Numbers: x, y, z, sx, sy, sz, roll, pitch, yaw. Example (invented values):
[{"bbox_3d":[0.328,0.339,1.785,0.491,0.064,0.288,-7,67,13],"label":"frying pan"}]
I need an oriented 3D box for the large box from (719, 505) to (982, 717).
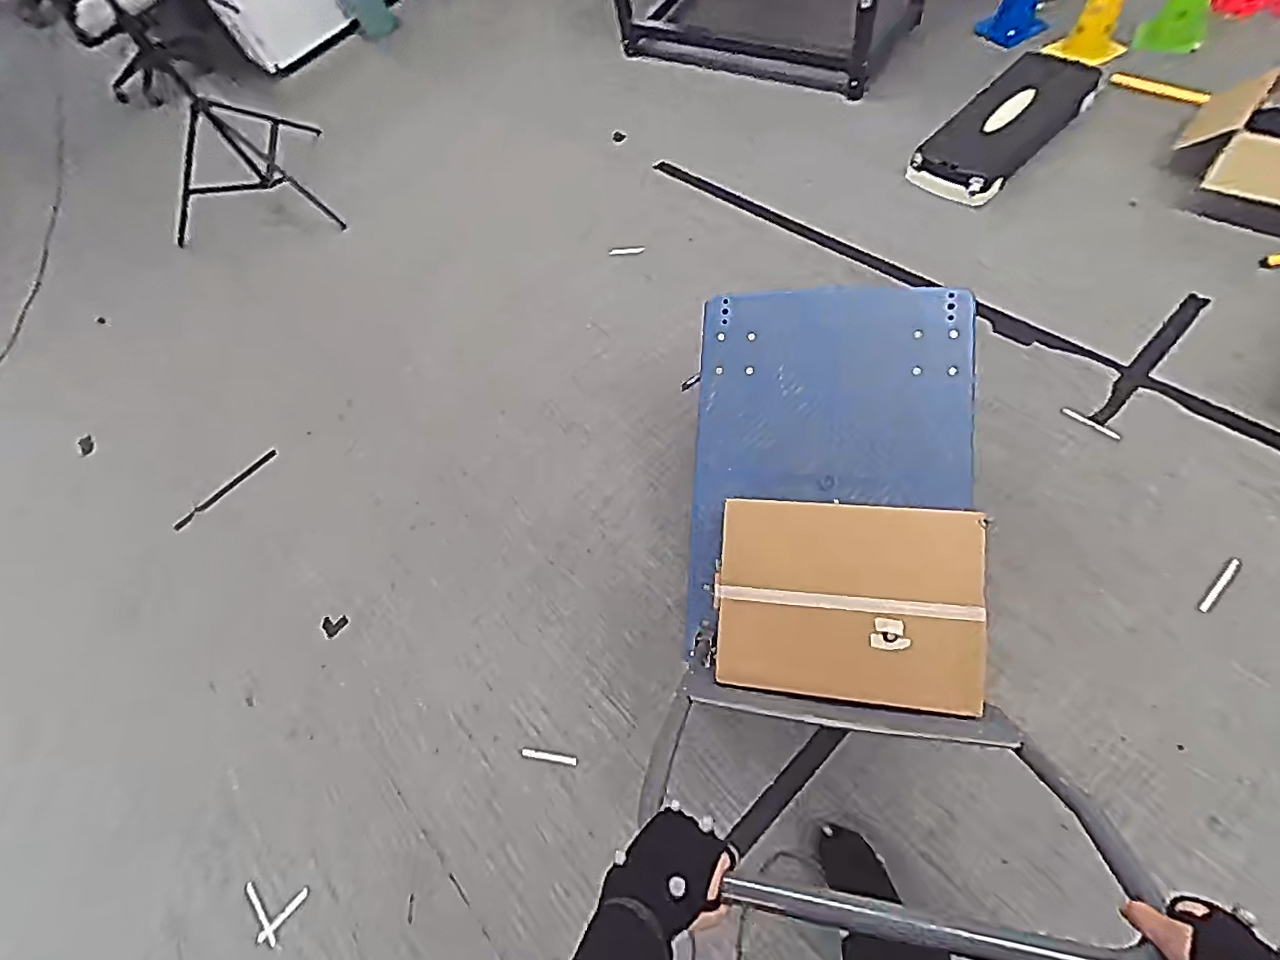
[{"bbox_3d":[0.365,0.219,1.024,0.408,0.320,0.320,3,86,13],"label":"large box"}]
